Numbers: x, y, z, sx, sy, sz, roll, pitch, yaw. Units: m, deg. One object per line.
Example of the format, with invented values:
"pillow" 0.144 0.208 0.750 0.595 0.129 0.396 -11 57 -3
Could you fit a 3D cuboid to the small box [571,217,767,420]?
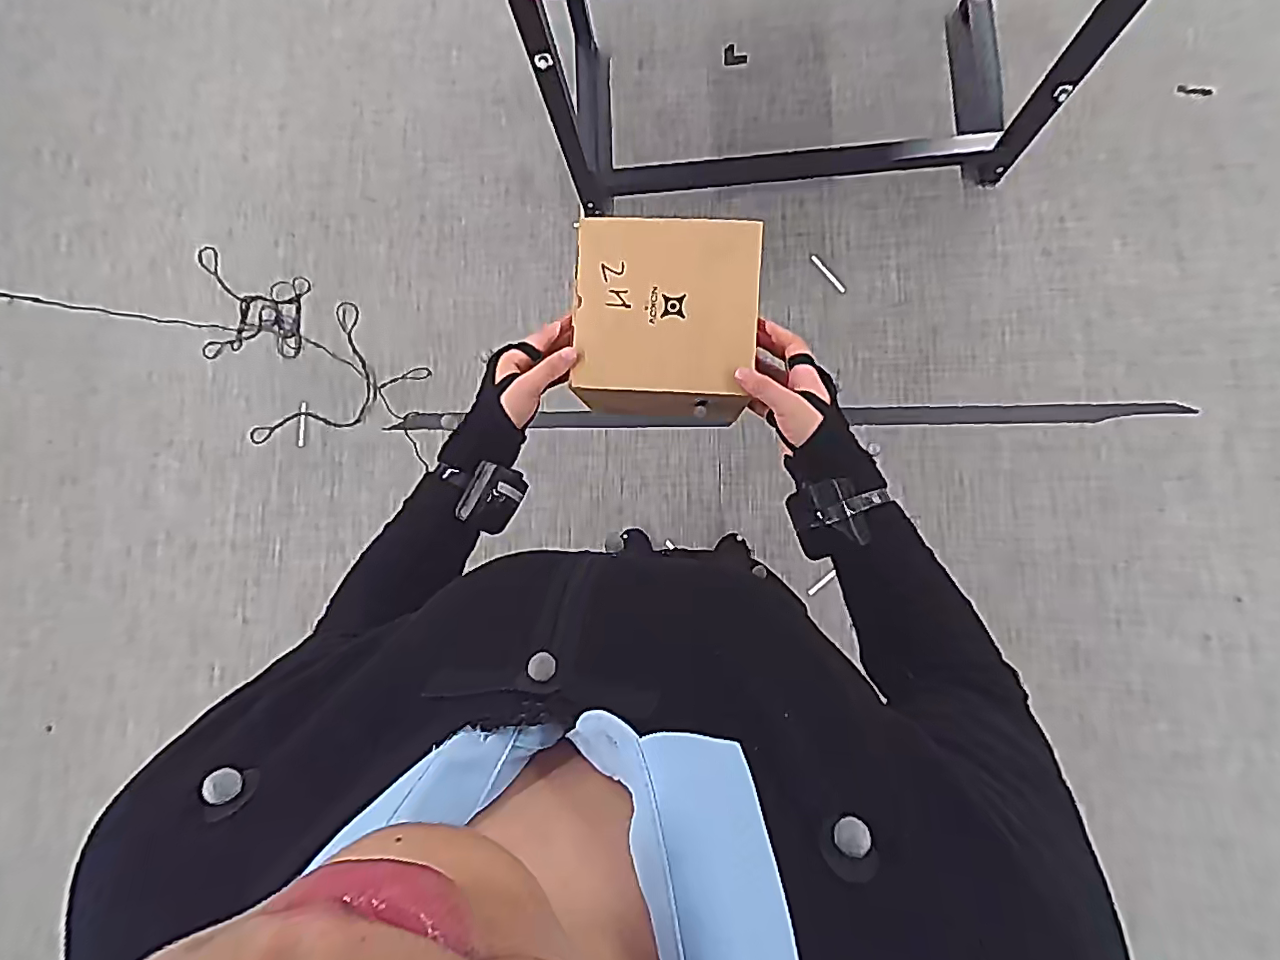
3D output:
"small box" 0.032 -0.160 0.587 0.179 0.176 0.168 4 88 5
